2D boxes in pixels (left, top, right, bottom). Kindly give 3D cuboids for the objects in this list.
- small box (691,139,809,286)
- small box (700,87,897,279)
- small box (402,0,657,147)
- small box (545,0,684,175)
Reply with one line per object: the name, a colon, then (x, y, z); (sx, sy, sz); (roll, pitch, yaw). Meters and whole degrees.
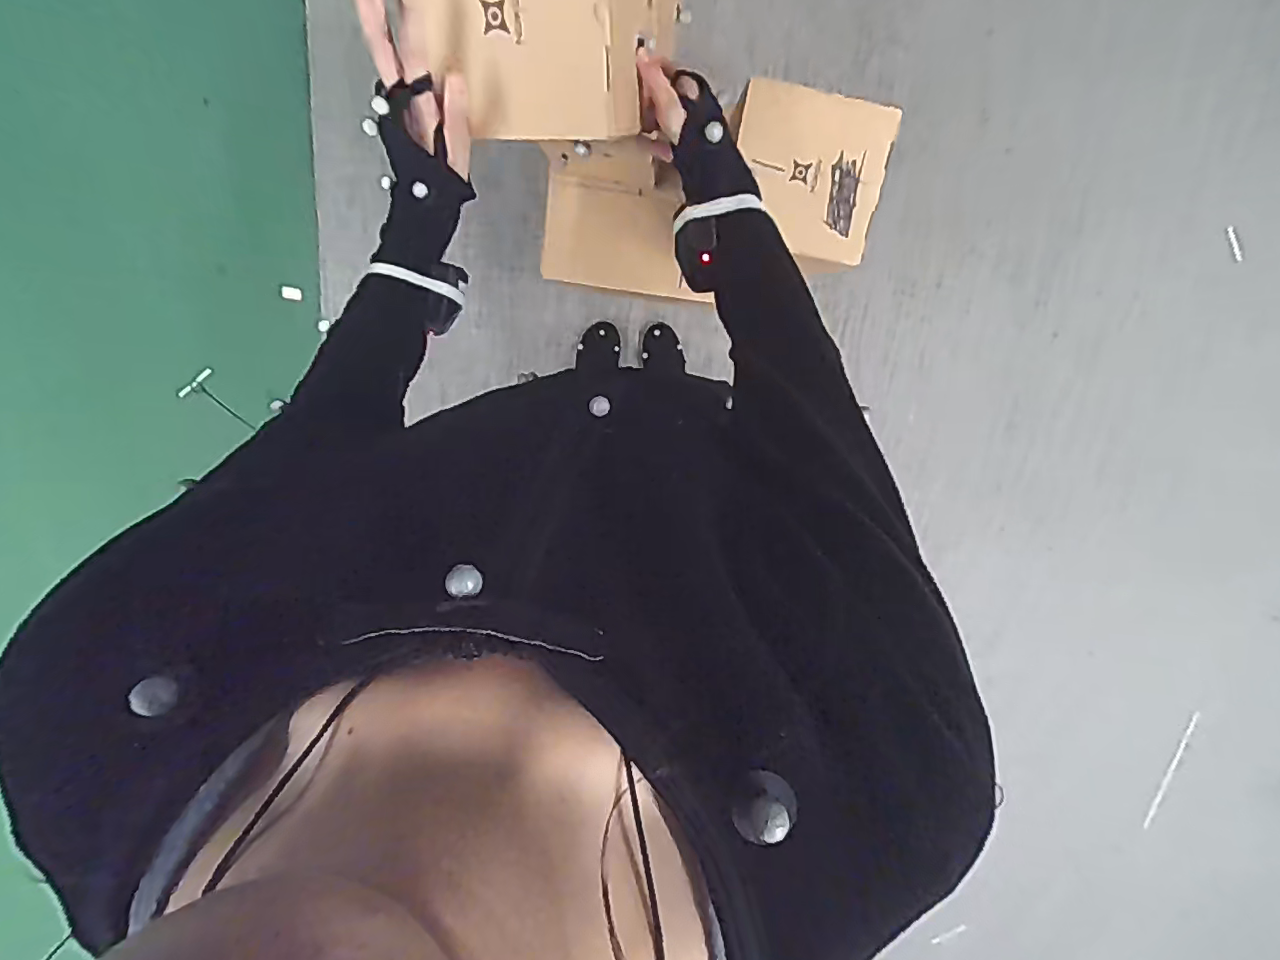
small box: (0.181, -0.405, 0.850); (0.179, 0.176, 0.168); (10, 108, -2)
small box: (0.186, -0.360, 0.693); (0.179, 0.176, 0.168); (11, 106, -3)
small box: (-0.088, -0.401, 0.490); (0.179, 0.176, 0.168); (7, 125, 12)
small box: (-0.047, -0.503, 0.655); (0.168, 0.176, 0.179); (13, 106, -2)
